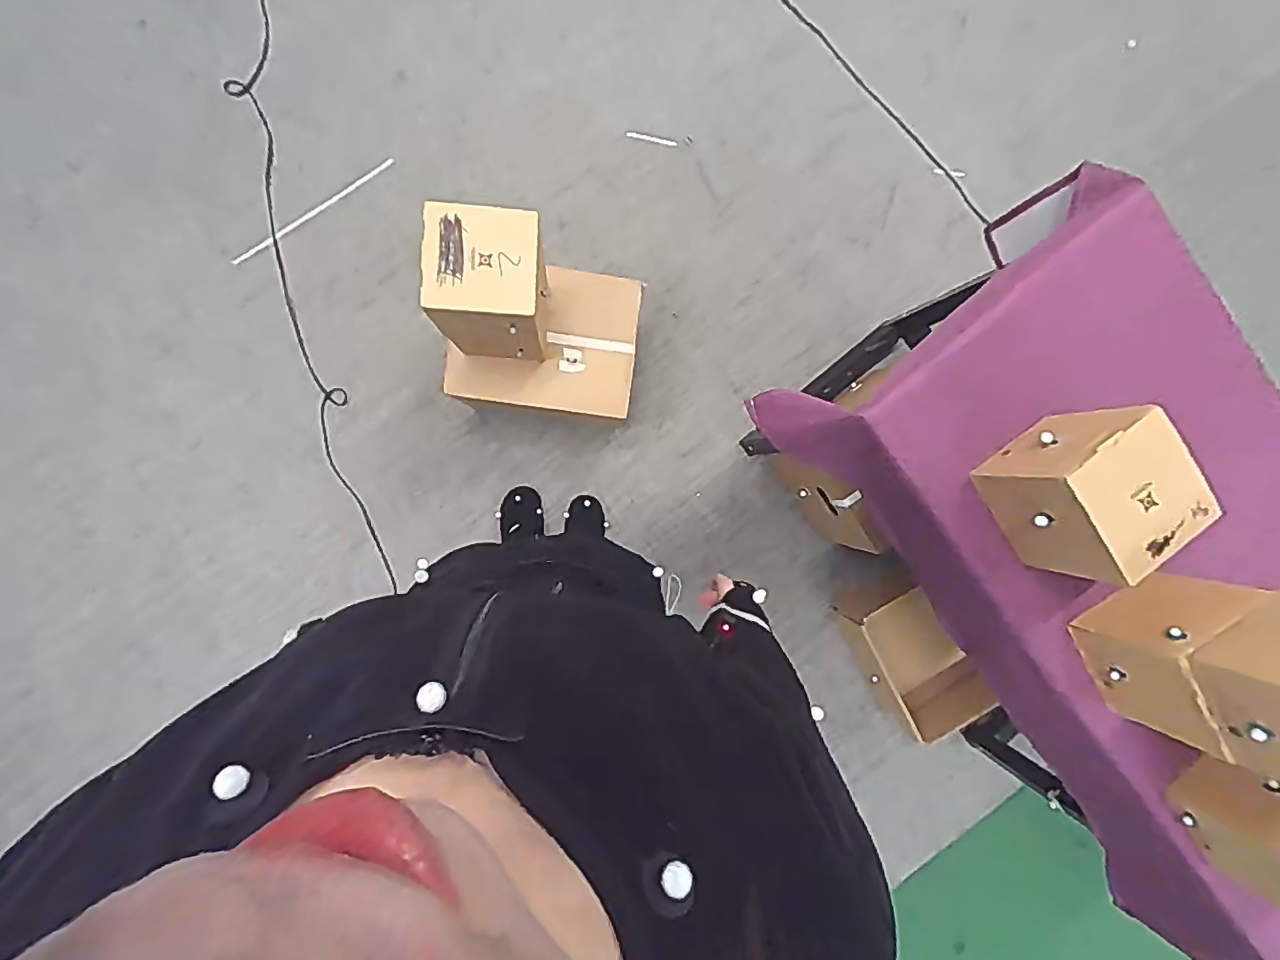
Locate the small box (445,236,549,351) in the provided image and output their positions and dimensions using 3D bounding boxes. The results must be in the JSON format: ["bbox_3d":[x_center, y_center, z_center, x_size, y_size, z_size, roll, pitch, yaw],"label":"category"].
[{"bbox_3d":[-0.275,-0.359,1.073,0.179,0.176,0.168,4,91,-6],"label":"small box"}]

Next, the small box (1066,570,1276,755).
[{"bbox_3d":[0.800,0.254,0.803,0.179,0.176,0.168,-30,95,-4],"label":"small box"}]

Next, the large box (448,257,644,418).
[{"bbox_3d":[-0.224,-0.338,1.328,0.408,0.320,0.320,7,93,-8],"label":"large box"}]

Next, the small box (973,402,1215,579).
[{"bbox_3d":[0.628,0.013,0.771,0.168,0.176,0.179,-34,95,-4],"label":"small box"}]

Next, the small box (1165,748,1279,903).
[{"bbox_3d":[0.973,0.524,0.831,0.179,0.176,0.168,-35,95,-5],"label":"small box"}]

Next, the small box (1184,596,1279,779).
[{"bbox_3d":[0.825,0.258,0.640,0.179,0.176,0.168,-29,95,-4],"label":"small box"}]
